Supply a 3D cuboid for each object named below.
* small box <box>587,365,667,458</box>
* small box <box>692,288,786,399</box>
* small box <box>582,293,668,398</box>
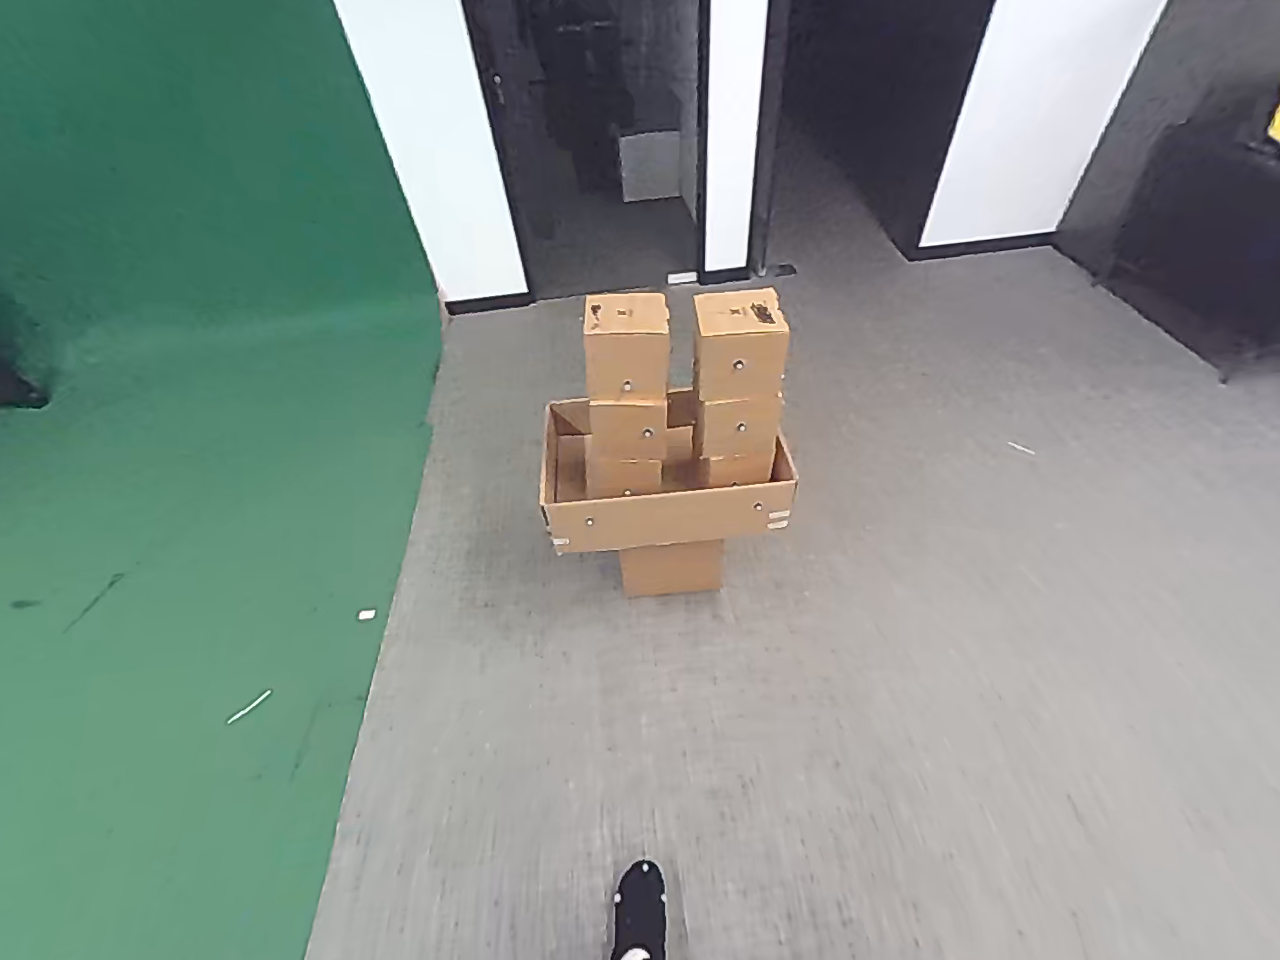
[{"bbox_3d":[-0.027,-0.167,1.300,0.179,0.176,0.168,1,46,2],"label":"small box"},{"bbox_3d":[0.205,-0.294,1.172,0.179,0.176,0.168,-4,47,2],"label":"small box"},{"bbox_3d":[-0.034,-0.295,1.197,0.179,0.176,0.168,-1,45,-2],"label":"small box"}]
